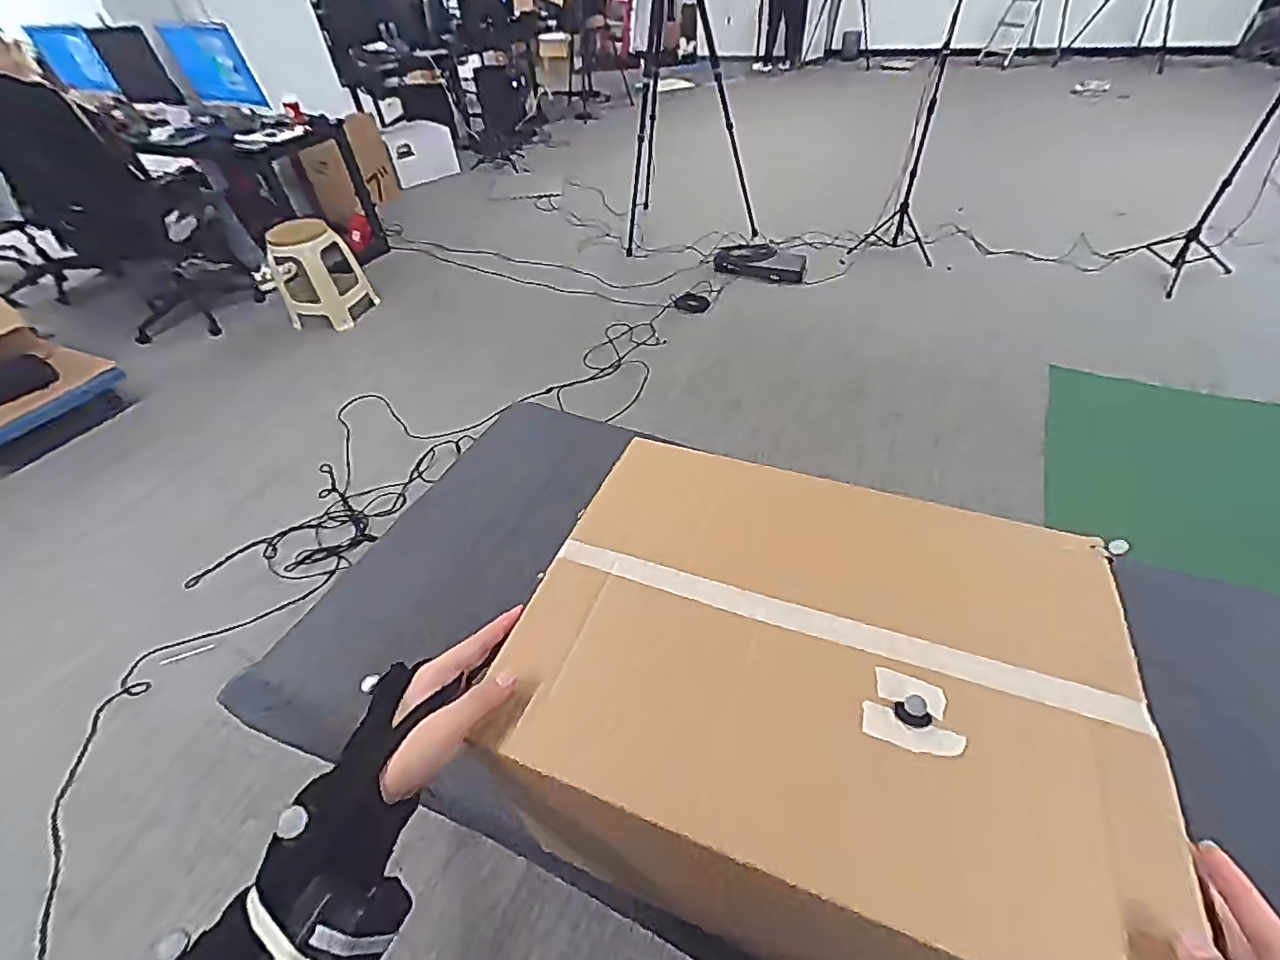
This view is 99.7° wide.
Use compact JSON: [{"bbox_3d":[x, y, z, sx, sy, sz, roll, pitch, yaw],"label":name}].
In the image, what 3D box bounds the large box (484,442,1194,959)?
[{"bbox_3d":[0.134,0.210,0.507,0.408,0.320,0.320,14,48,16],"label":"large box"}]
